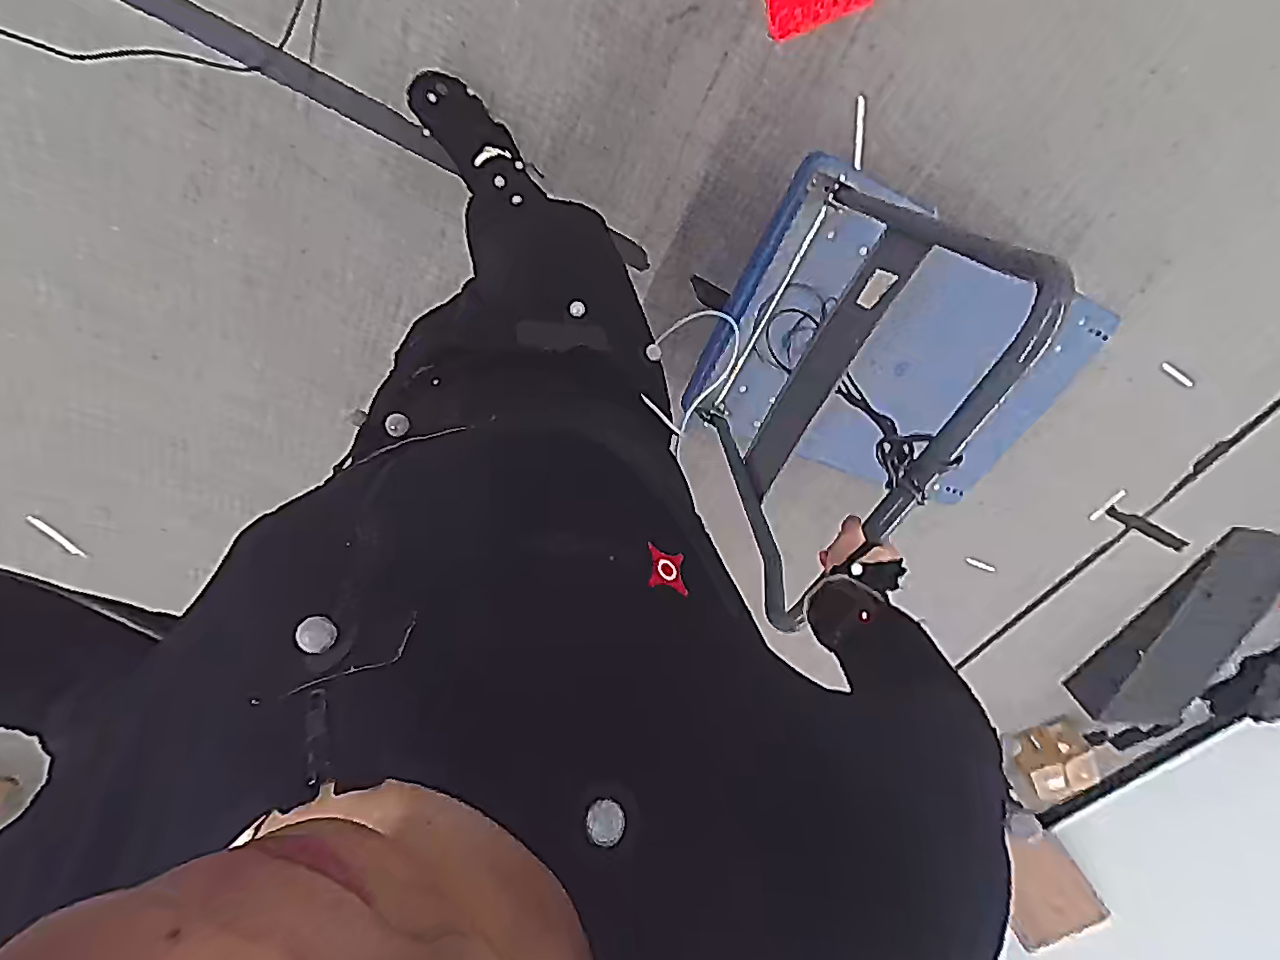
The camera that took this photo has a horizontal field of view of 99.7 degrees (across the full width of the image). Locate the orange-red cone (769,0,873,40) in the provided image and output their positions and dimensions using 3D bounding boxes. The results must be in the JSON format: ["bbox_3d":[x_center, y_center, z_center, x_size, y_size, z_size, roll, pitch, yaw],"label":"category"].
[{"bbox_3d":[0.333,-0.806,0.797,0.198,0.360,0.199,-18,127,5],"label":"orange-red cone"}]
